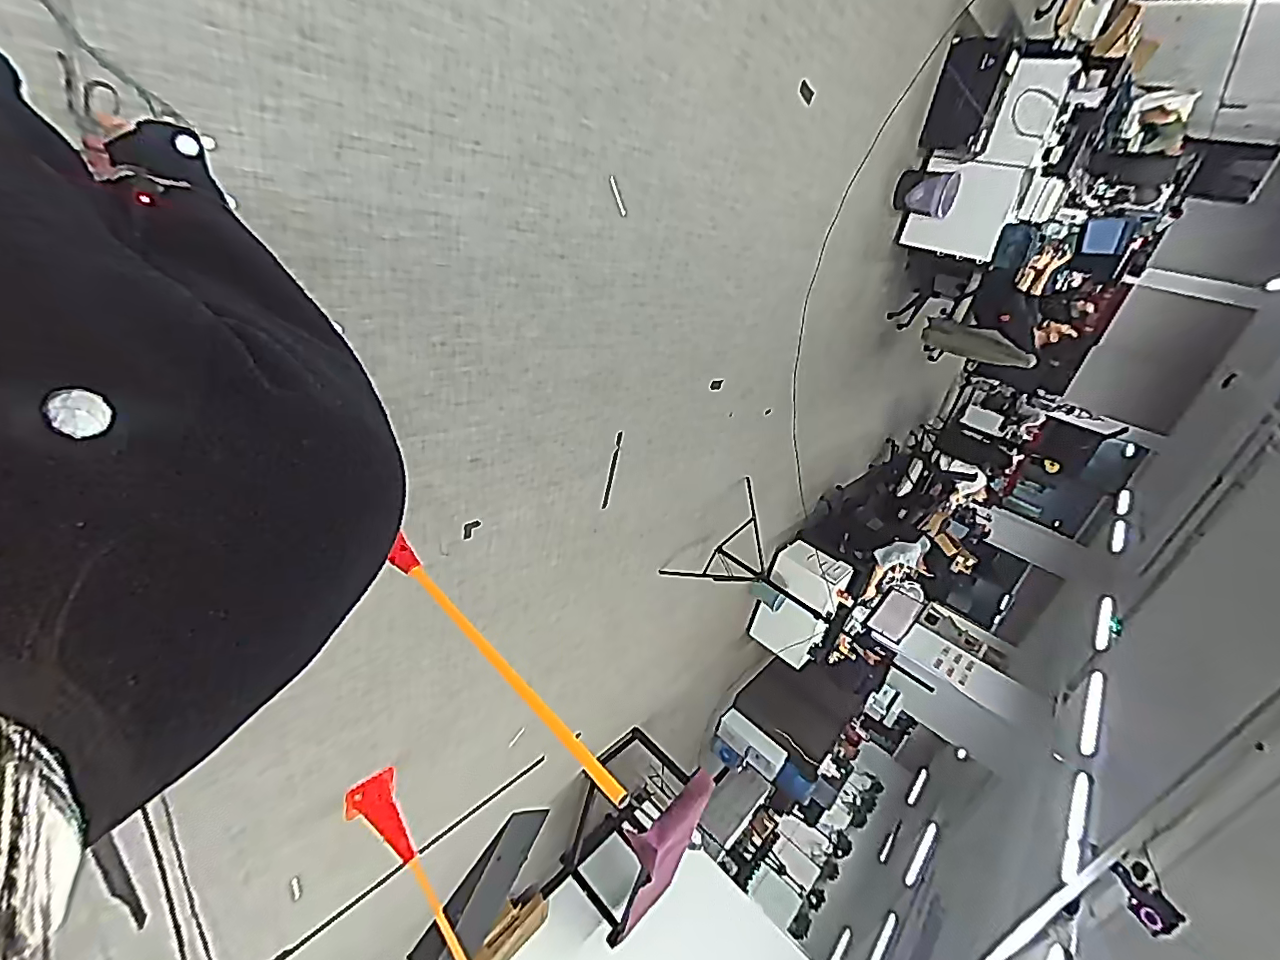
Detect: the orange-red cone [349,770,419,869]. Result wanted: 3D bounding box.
[{"bbox_3d":[-0.984,1.389,2.155,0.198,0.360,0.199,-15,129,-47],"label":"orange-red cone"}]
